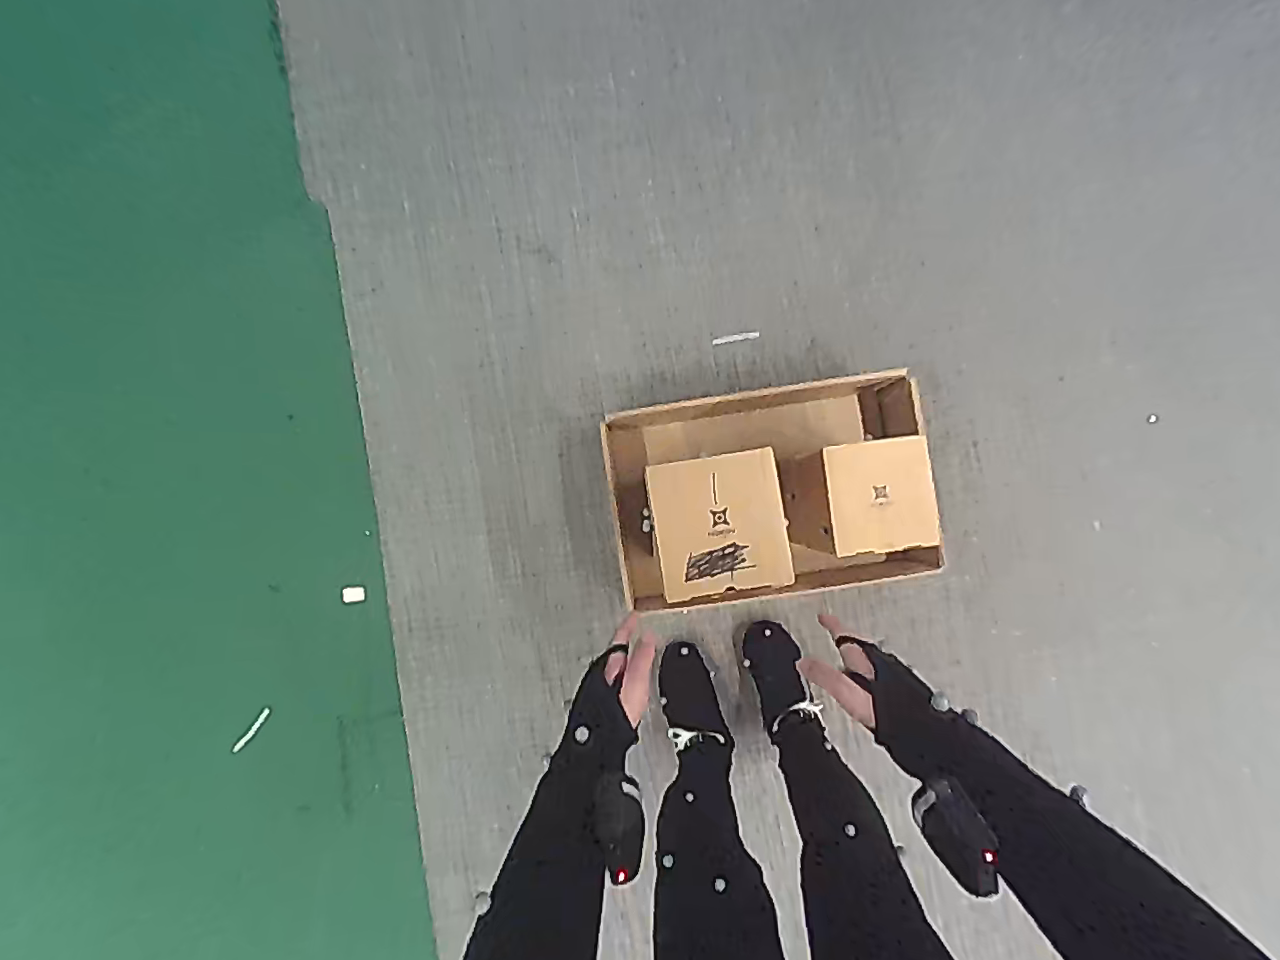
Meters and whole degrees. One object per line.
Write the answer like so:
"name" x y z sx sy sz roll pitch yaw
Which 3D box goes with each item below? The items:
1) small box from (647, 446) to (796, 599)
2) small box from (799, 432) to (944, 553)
"small box" 0.104 0.055 0.752 0.168 0.176 0.179 -8 87 0
"small box" 0.379 0.022 0.916 0.168 0.176 0.179 -7 89 1
